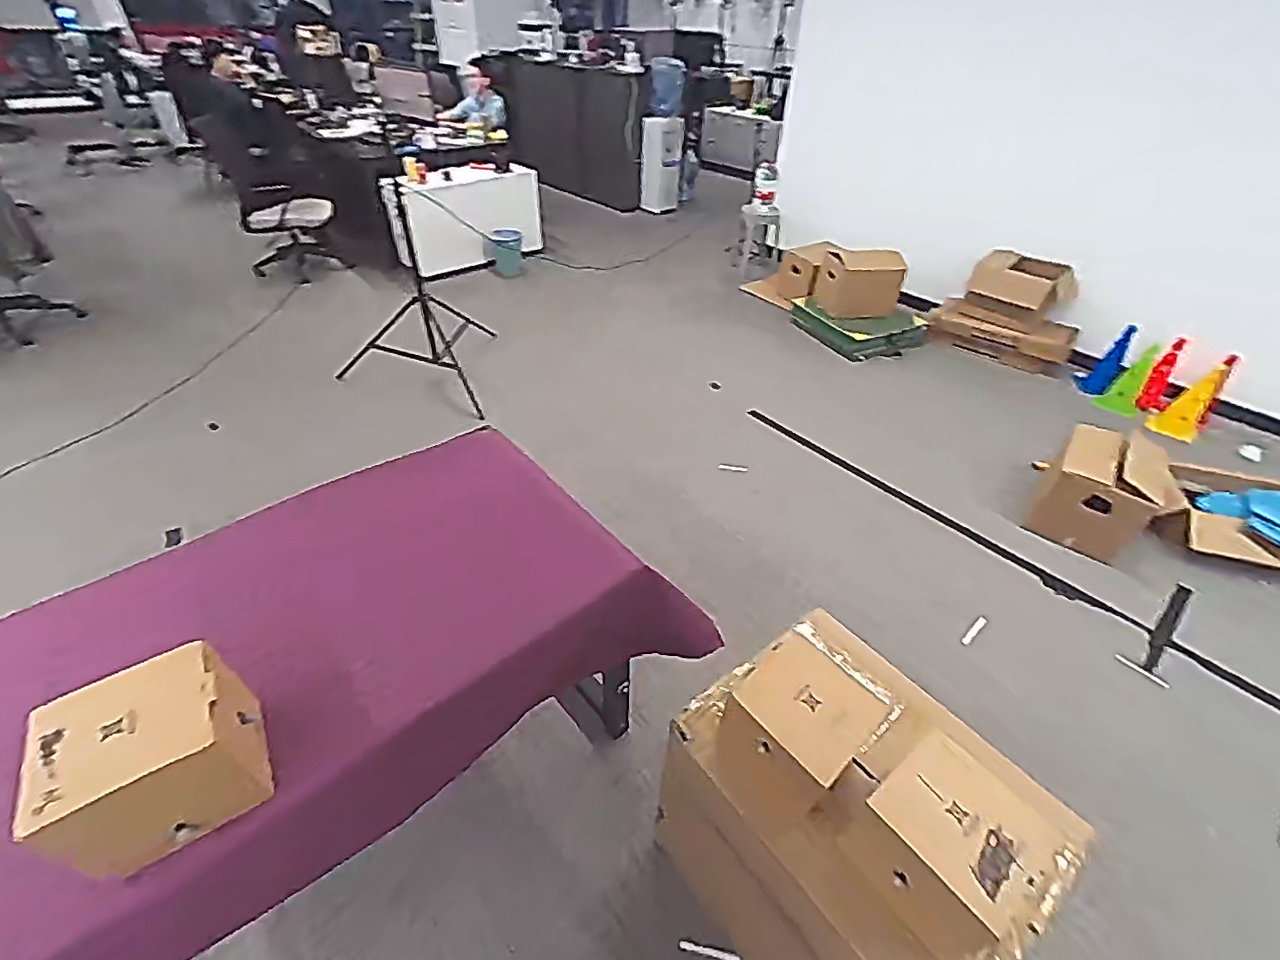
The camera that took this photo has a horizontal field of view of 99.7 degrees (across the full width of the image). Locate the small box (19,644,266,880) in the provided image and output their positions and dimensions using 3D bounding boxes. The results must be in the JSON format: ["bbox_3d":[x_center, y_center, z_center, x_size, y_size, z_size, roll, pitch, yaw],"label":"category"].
[{"bbox_3d":[-0.602,0.351,0.682,0.179,0.176,0.168,-23,46,-27],"label":"small box"}]

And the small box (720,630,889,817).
[{"bbox_3d":[0.244,0.380,0.846,0.168,0.176,0.179,-30,51,-29],"label":"small box"}]

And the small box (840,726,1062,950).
[{"bbox_3d":[0.404,0.483,0.730,0.168,0.176,0.179,-26,46,-28],"label":"small box"}]
